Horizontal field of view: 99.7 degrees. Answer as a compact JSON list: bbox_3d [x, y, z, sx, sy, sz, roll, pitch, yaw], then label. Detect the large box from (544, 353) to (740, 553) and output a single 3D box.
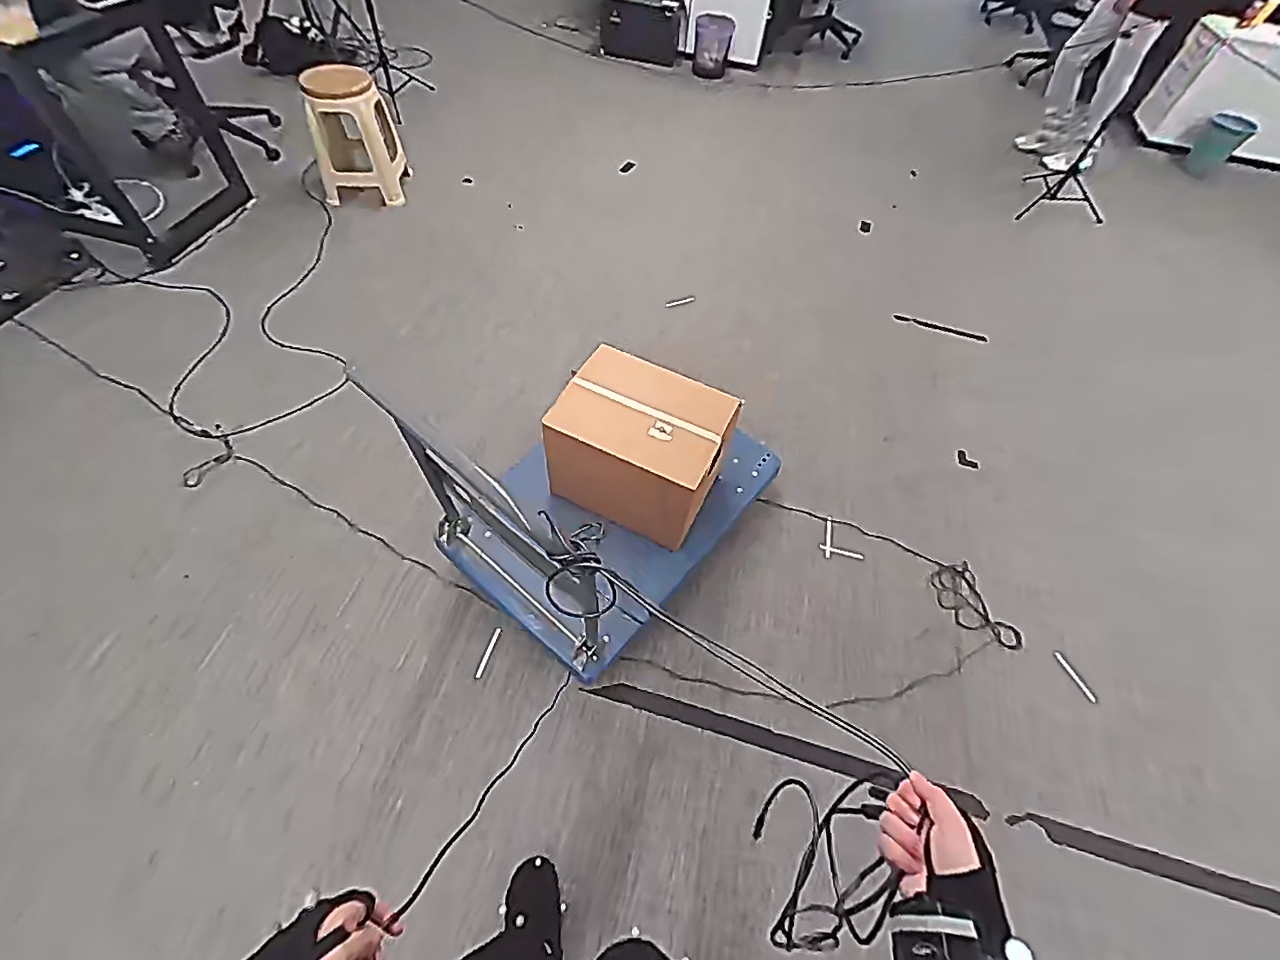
[{"bbox_3d":[-0.003,-0.069,1.440,0.408,0.320,0.320,24,58,10],"label":"large box"}]
